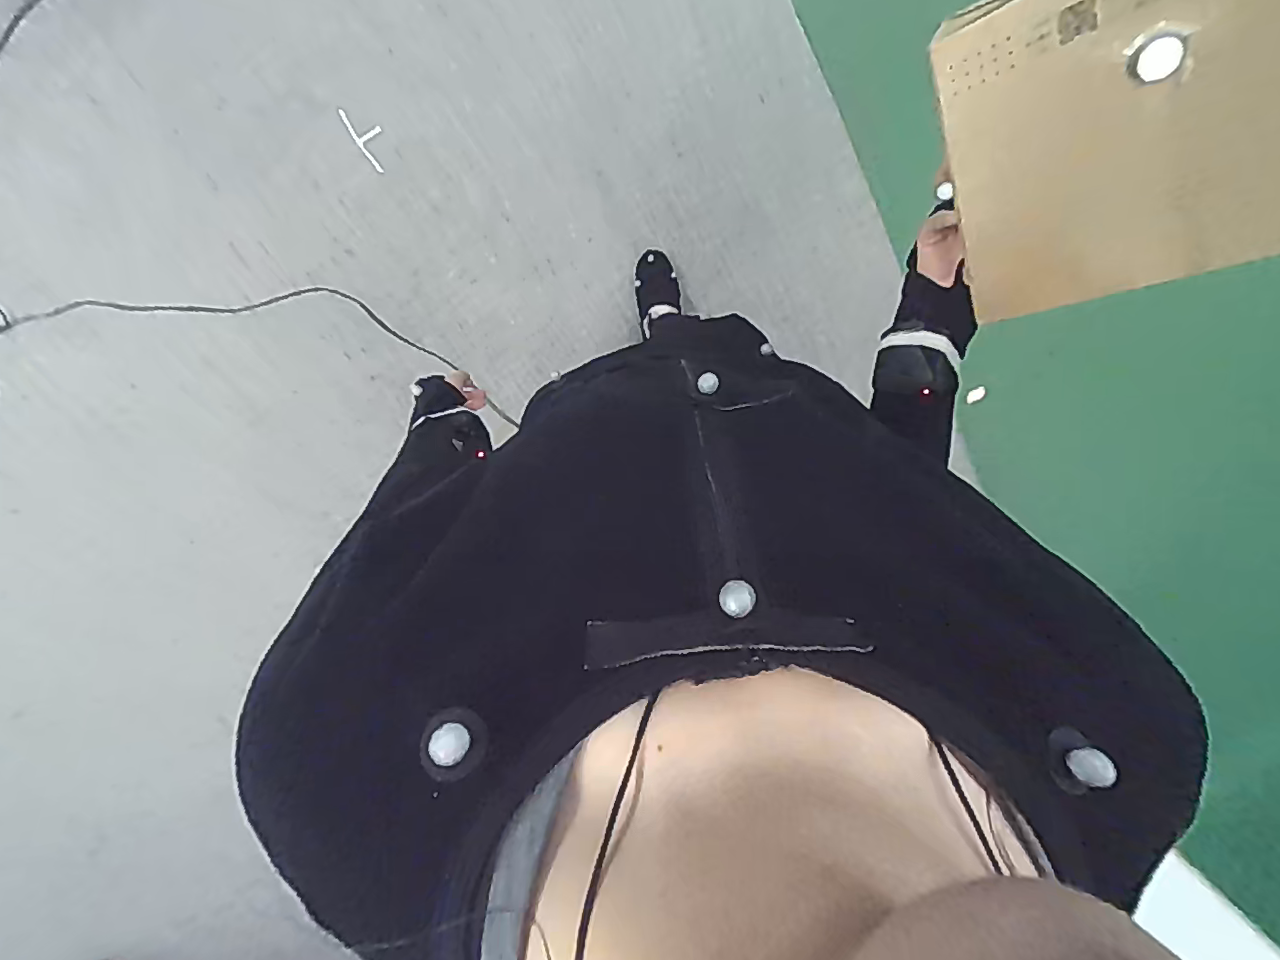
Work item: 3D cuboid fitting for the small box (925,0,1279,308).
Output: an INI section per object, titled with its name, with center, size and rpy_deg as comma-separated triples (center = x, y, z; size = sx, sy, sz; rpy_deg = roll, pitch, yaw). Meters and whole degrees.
[small box]
center = 0.284, -0.238, 0.326
size = 0.168, 0.179, 0.176
rpy_deg = -9, 124, 38
